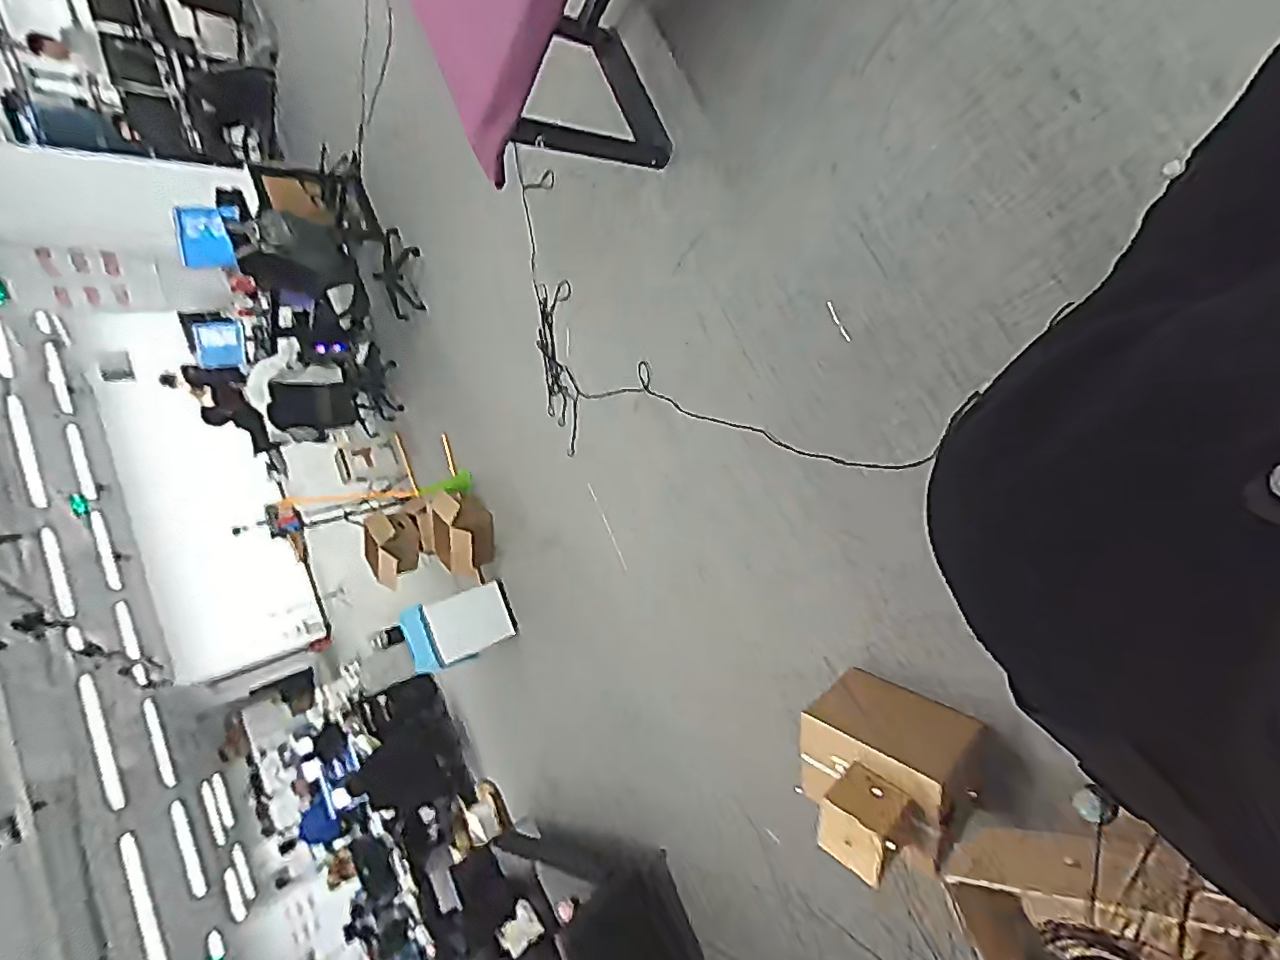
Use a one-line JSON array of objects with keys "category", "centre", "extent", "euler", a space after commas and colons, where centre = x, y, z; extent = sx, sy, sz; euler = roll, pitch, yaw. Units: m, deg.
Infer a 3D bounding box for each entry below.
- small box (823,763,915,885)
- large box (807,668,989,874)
[{"category": "small box", "centre": [0.610, 0.906, 1.441], "extent": [0.168, 0.176, 0.179], "euler": [18, 118, 47]}, {"category": "large box", "centre": [0.765, 0.835, 1.621], "extent": [0.408, 0.320, 0.320], "euler": [13, 113, 49]}]
